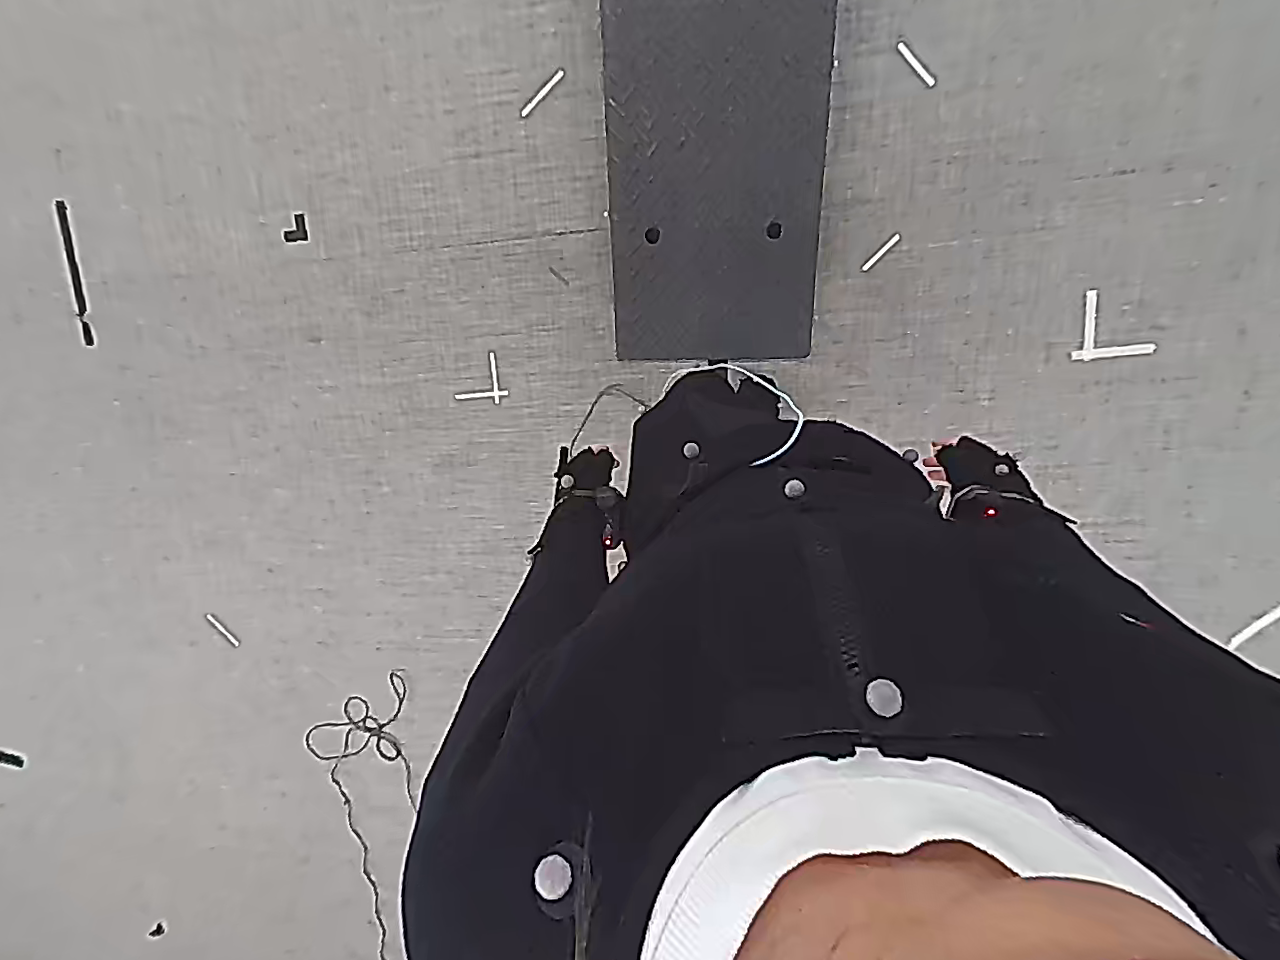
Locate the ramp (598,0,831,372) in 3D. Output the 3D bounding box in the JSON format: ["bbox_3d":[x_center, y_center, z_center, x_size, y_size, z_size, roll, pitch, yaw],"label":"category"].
[{"bbox_3d":[0.170,-0.758,1.231,0.509,0.206,0.991,-2,100,8],"label":"ramp"}]
